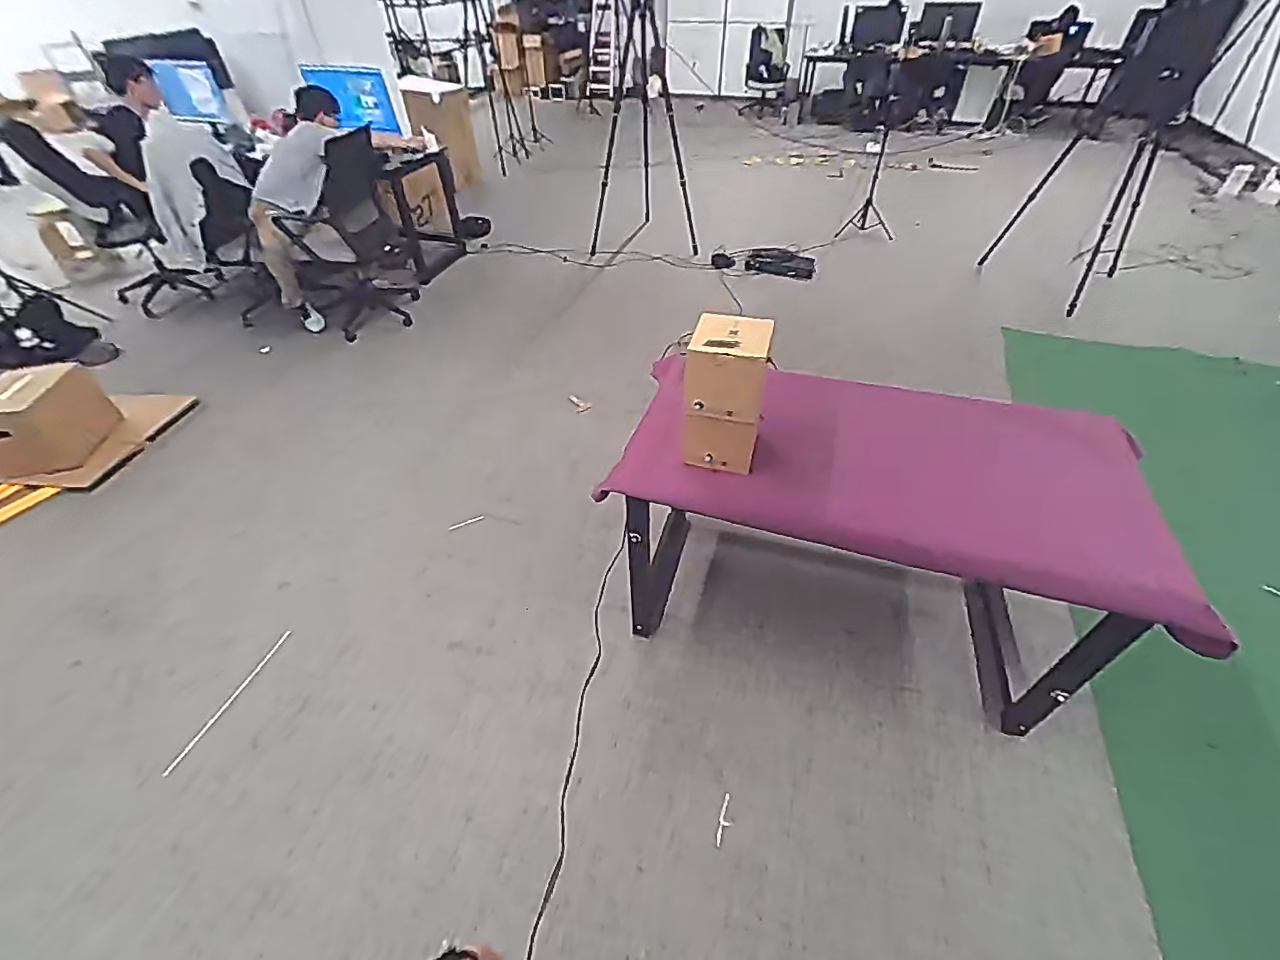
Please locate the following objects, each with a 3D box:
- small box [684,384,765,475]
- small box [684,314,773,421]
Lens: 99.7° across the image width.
[{"bbox_3d":[0.205,-0.140,1.336,0.168,0.176,0.179,10,46,13],"label":"small box"},{"bbox_3d":[0.199,-0.253,1.217,0.168,0.176,0.179,10,44,13],"label":"small box"}]
